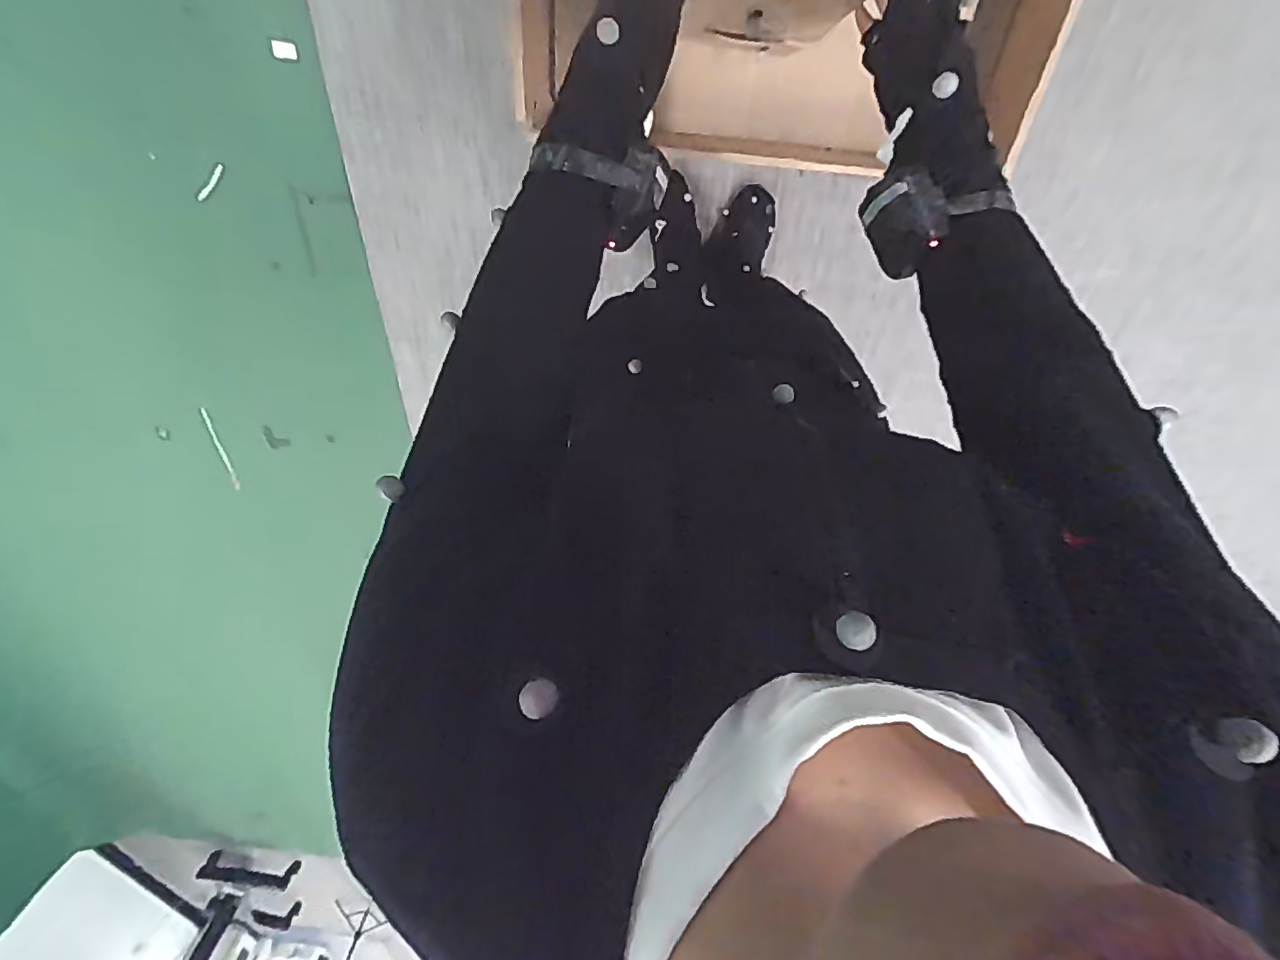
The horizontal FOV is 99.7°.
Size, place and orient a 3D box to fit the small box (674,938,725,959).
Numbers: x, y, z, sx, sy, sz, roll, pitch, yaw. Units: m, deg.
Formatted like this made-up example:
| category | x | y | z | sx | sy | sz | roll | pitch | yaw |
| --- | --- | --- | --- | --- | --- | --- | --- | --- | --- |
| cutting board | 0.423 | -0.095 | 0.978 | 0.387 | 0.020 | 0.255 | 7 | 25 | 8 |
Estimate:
| category | x | y | z | sx | sy | sz | roll | pitch | yaw |
| --- | --- | --- | --- | --- | --- | --- | --- | --- | --- |
| small box | 0.206 | 1.724 | 1.878 | 0.179 | 0.176 | 0.168 | 2 | 125 | 7 |

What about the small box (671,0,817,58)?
| category | x | y | z | sx | sy | sz | roll | pitch | yaw |
| --- | --- | --- | --- | --- | --- | --- | --- | --- | --- |
| small box | 0.130 | -0.603 | 0.614 | 0.168 | 0.176 | 0.179 | 7 | 124 | -1 |

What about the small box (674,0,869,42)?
| category | x | y | z | sx | sy | sz | roll | pitch | yaw |
| --- | --- | --- | --- | --- | --- | --- | --- | --- | --- |
| small box | 0.121 | -0.507 | 0.463 | 0.168 | 0.176 | 0.179 | 6 | 118 | -2 |
